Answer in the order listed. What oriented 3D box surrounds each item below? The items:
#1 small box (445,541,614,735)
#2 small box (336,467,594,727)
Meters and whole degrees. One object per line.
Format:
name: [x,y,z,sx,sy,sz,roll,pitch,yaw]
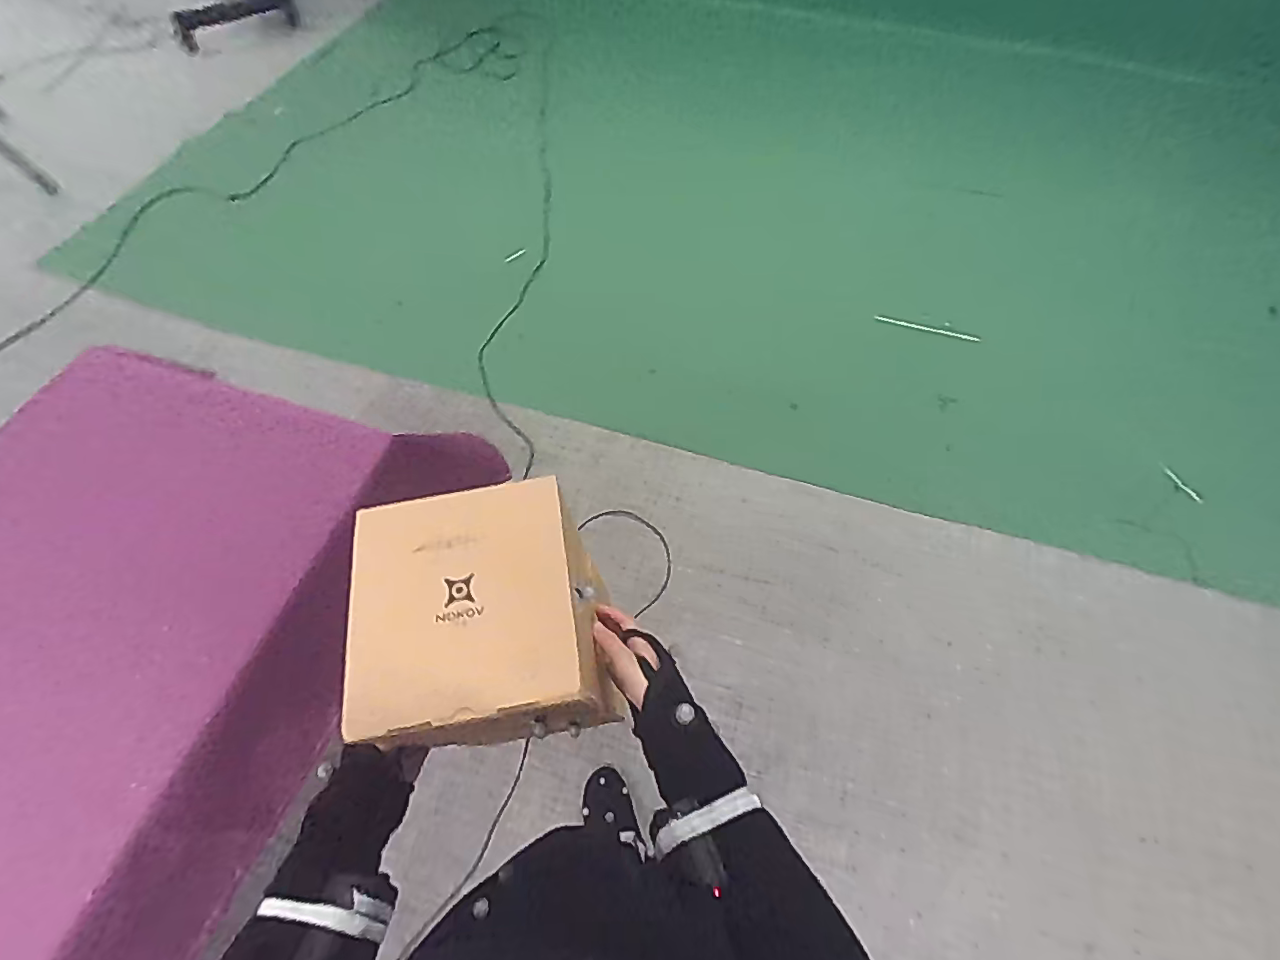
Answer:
small box: [-0.134,0.190,0.624,0.179,0.176,0.168,-10,63,-2]
small box: [-0.139,0.114,0.481,0.168,0.176,0.179,-10,62,-3]
